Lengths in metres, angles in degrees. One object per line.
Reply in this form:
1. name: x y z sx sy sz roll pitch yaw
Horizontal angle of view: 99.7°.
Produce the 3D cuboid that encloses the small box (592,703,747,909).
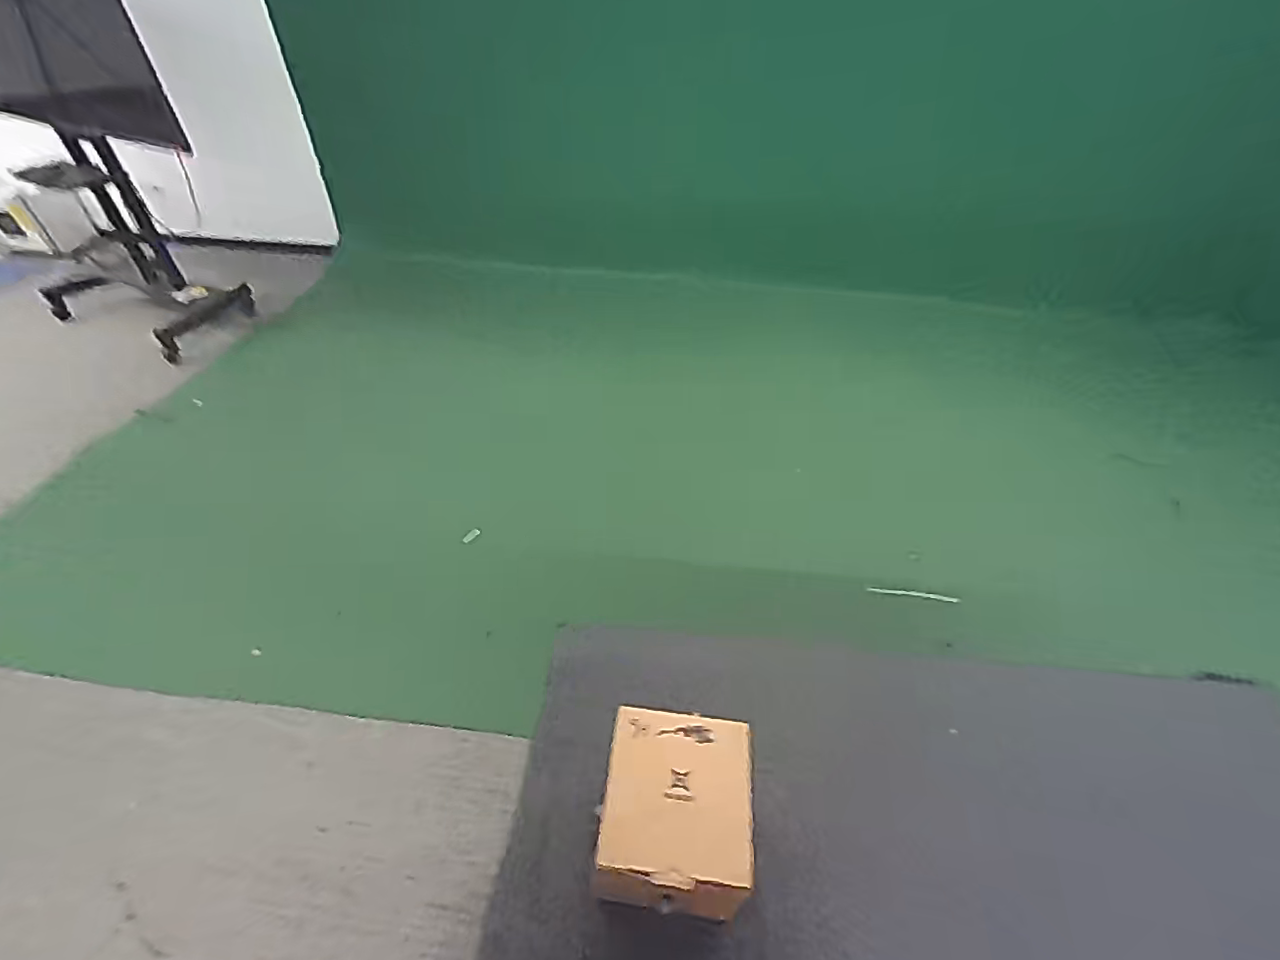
1. small box: 0.039 0.412 0.680 0.168 0.176 0.179 8 44 3
